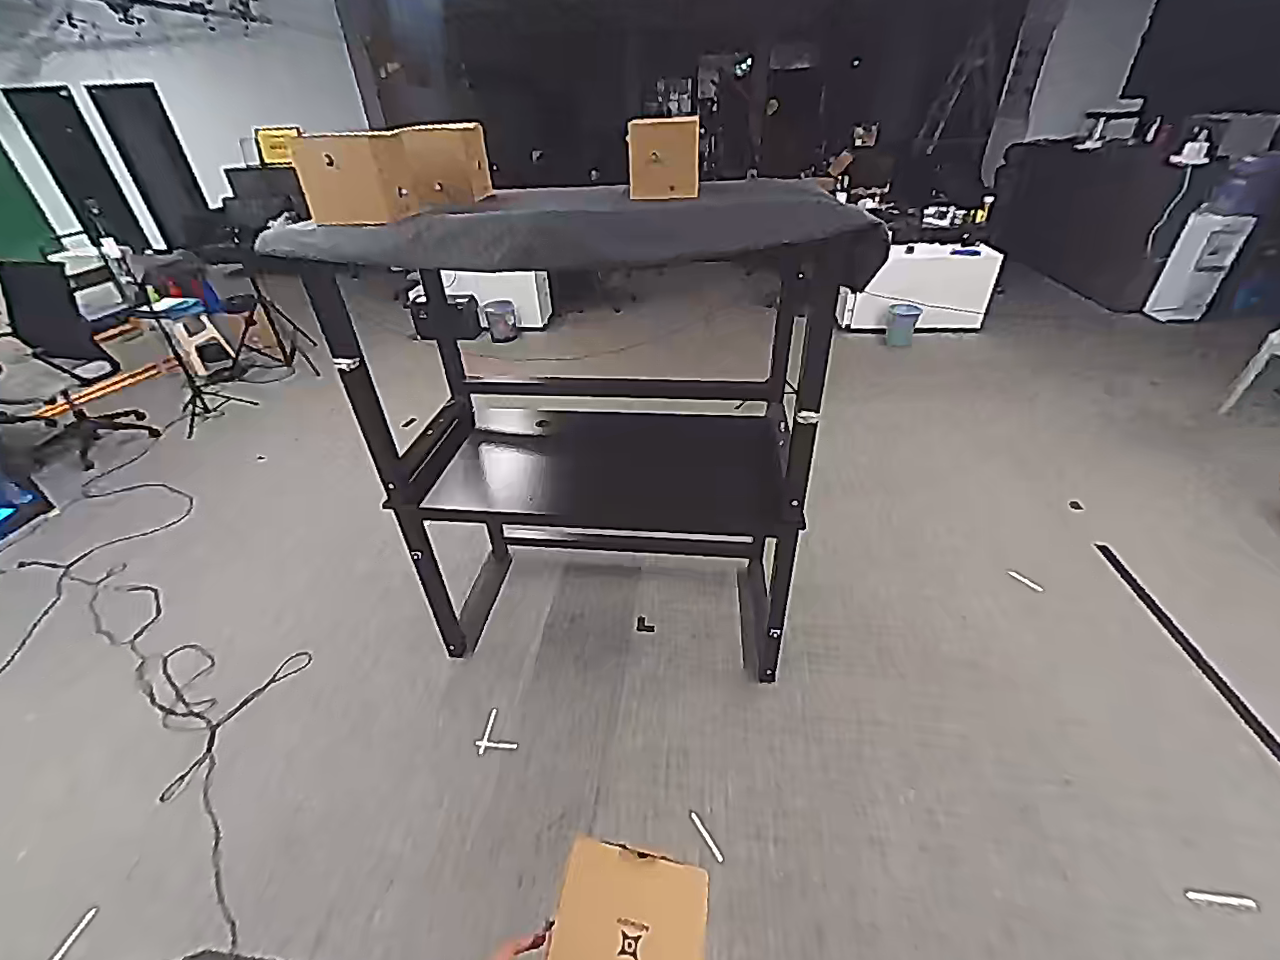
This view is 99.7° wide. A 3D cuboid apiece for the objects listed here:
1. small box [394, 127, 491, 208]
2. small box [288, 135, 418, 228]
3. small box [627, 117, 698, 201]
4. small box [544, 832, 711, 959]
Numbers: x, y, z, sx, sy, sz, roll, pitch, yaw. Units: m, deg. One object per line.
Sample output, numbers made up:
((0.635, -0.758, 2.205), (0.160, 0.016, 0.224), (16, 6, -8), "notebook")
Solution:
((-0.510, -0.827, 1.430), (0.179, 0.176, 0.168), (1, 36, 4), "small box")
((-0.626, -0.664, 1.205), (0.179, 0.176, 0.168), (0, 35, 3), "small box")
((0.064, -0.814, 1.376), (0.168, 0.176, 0.179), (1, 36, 6), "small box")
((-0.024, 0.553, 0.618), (0.168, 0.176, 0.179), (15, 34, 1), "small box")
